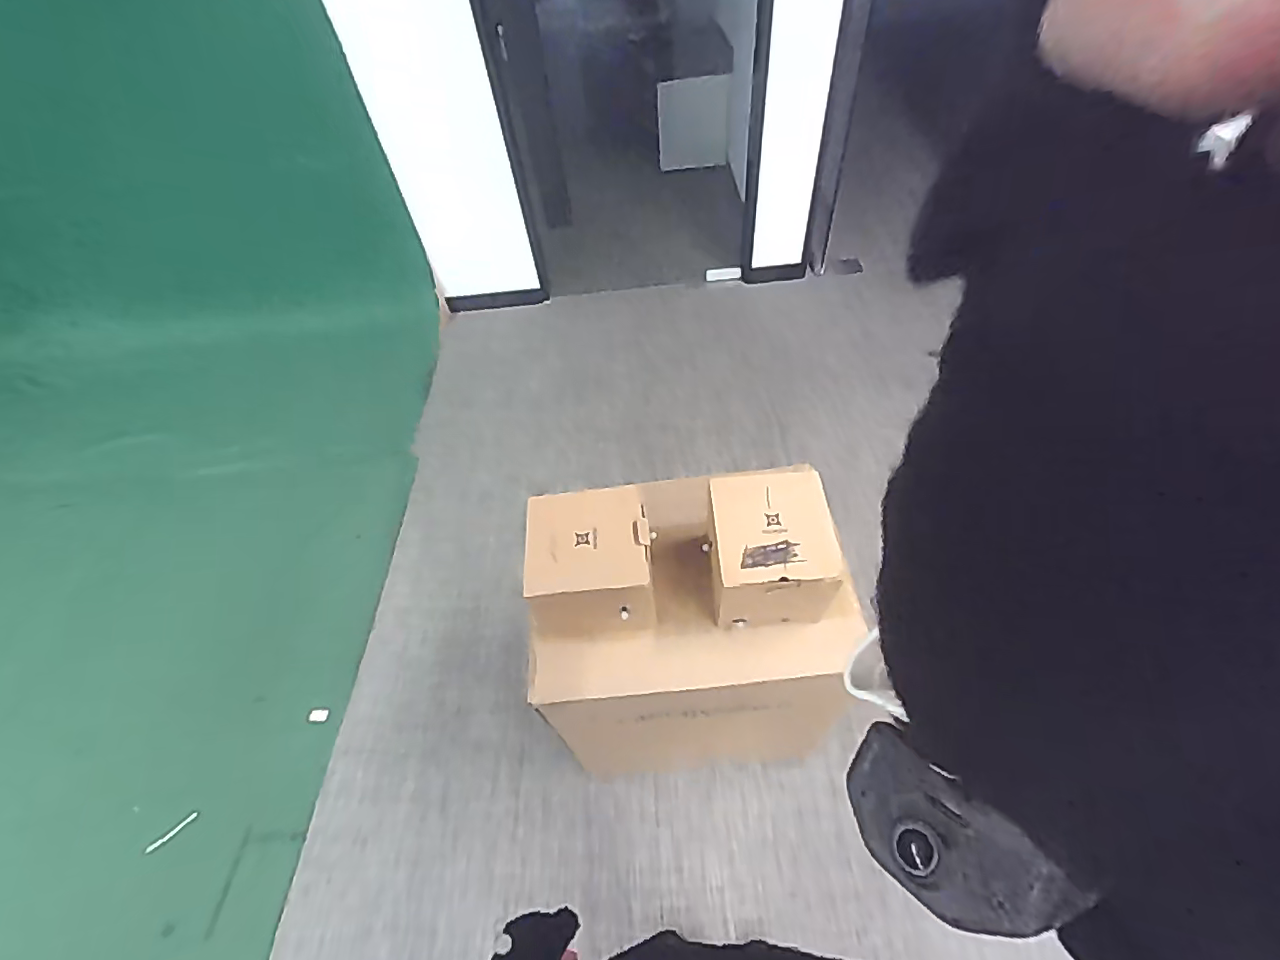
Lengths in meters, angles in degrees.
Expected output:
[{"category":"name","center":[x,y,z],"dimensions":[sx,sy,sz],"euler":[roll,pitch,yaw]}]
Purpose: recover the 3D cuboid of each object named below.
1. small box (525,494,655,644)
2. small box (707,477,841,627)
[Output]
[{"category":"small box","center":[-0.070,0.144,0.848],"dimensions":[0.179,0.176,0.168],"euler":[-8,53,2]},{"category":"small box","center":[0.194,0.118,0.834],"dimensions":[0.168,0.176,0.179],"euler":[-4,54,3]}]
